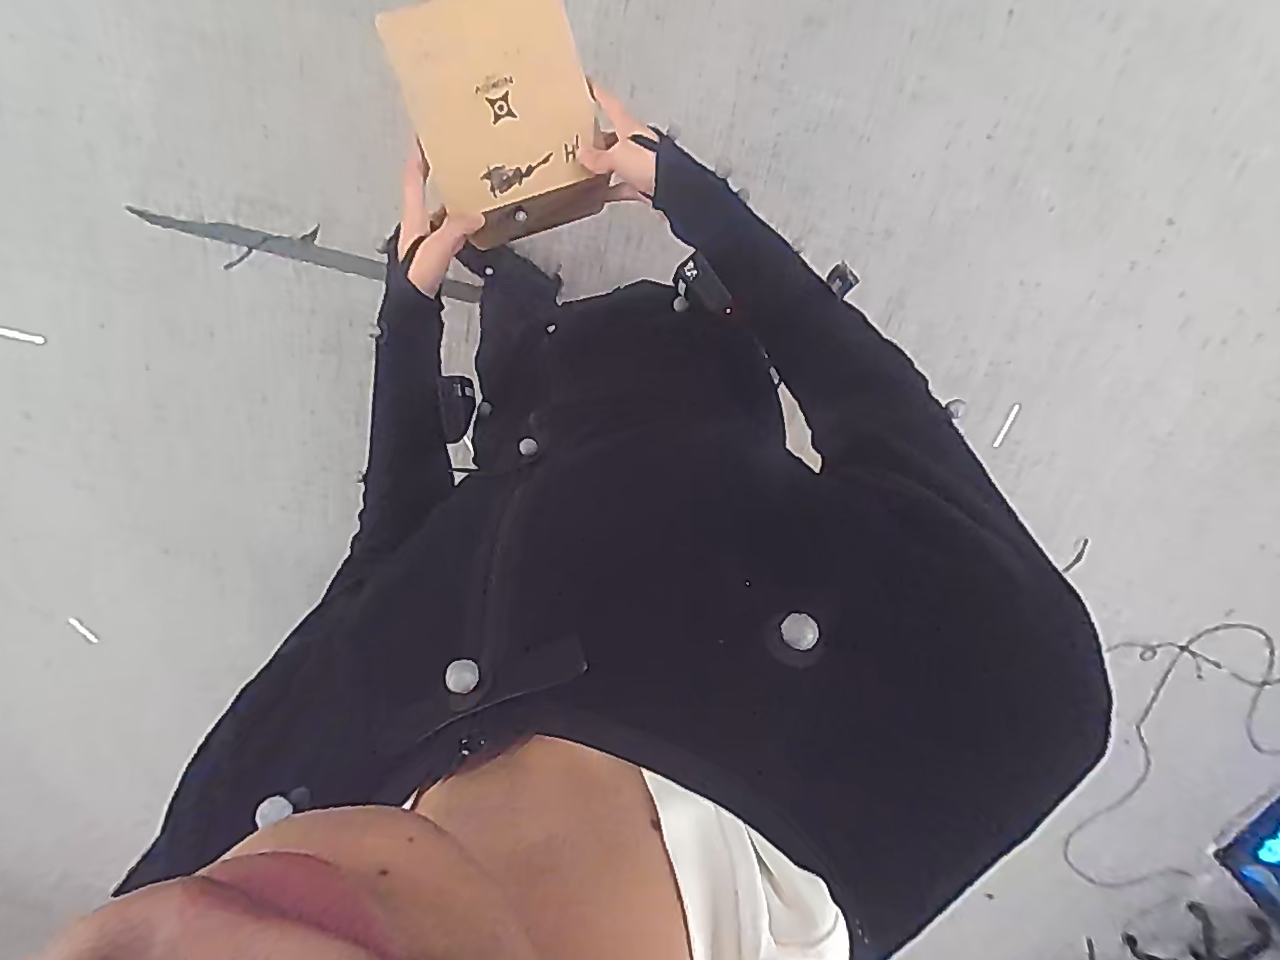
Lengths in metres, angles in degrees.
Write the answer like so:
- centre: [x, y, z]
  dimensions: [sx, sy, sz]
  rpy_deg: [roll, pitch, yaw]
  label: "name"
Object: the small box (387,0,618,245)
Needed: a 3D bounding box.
- centre: [-0.132, -0.370, 0.571]
  dimensions: [0.168, 0.176, 0.179]
  rpy_deg: [-18, 107, -2]
  label: "small box"
